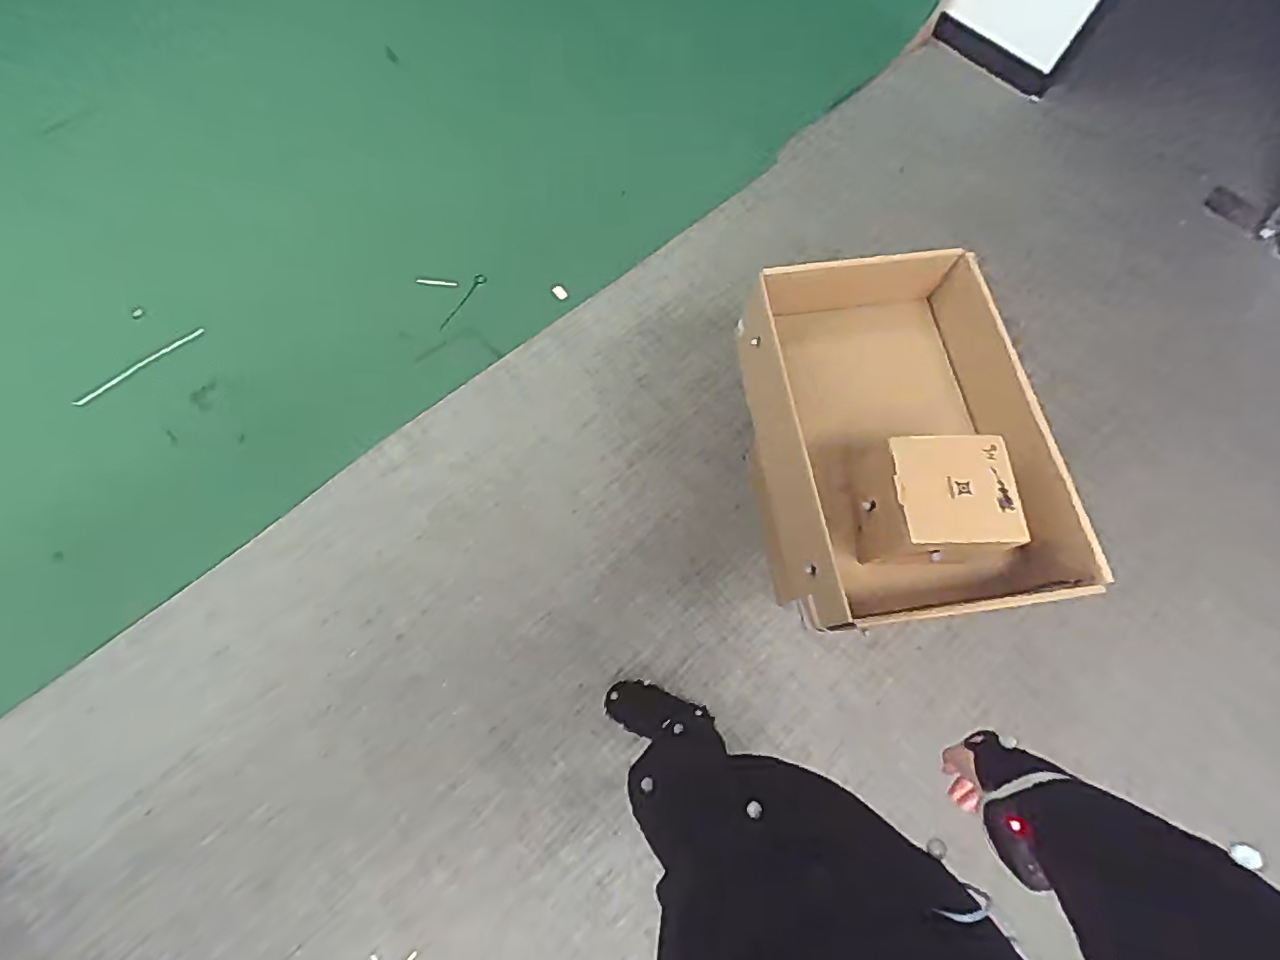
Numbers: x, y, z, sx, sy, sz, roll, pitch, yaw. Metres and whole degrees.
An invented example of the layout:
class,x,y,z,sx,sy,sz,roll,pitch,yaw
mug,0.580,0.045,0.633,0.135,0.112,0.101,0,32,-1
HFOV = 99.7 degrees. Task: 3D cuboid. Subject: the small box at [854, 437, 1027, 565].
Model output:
class,x,y,z,sx,sy,sz,roll,pitch,yaw
small box,0.456,0.041,0.859,0.179,0.176,0.168,-1,71,-1
